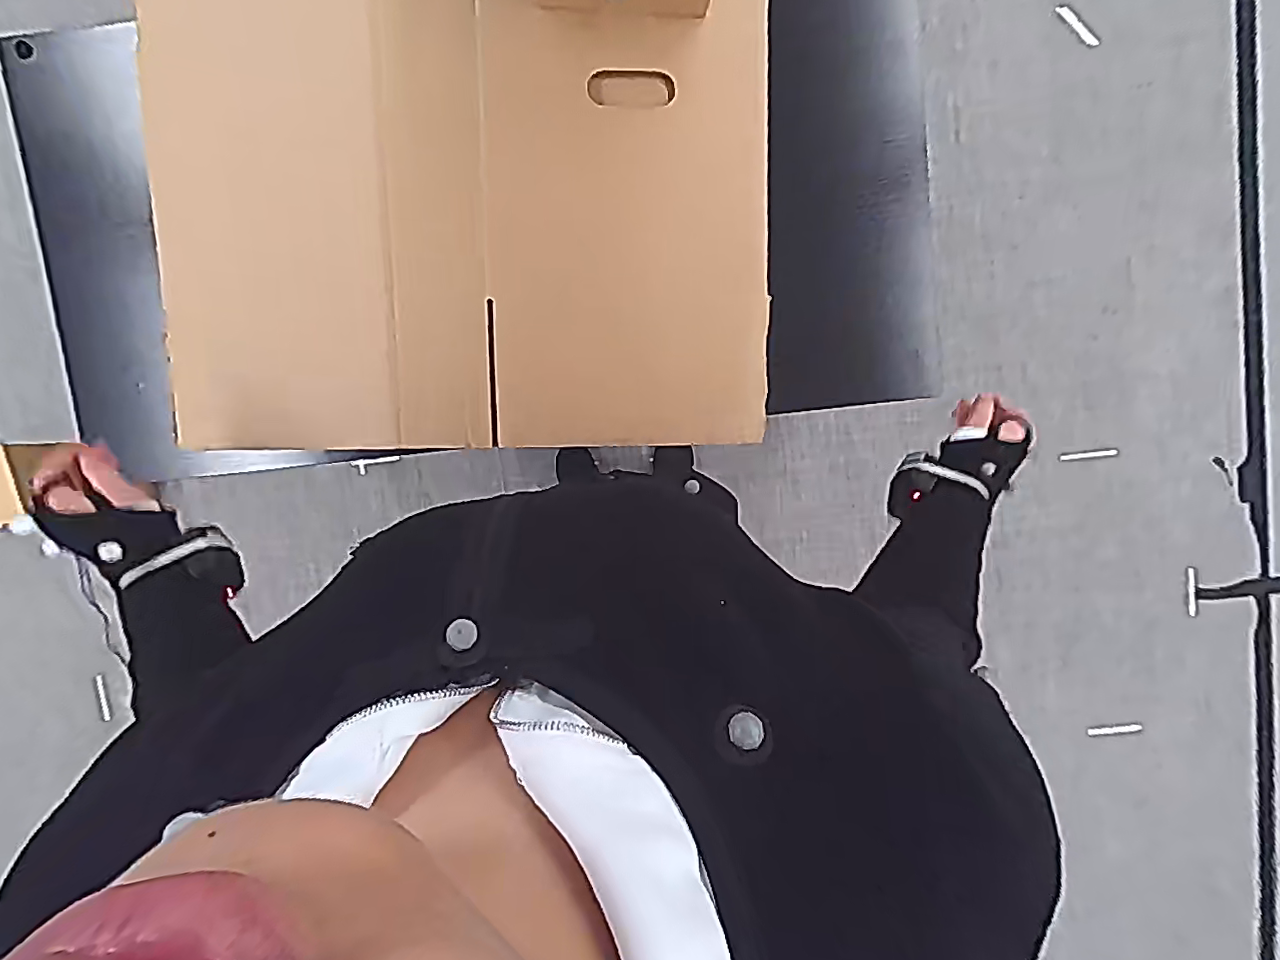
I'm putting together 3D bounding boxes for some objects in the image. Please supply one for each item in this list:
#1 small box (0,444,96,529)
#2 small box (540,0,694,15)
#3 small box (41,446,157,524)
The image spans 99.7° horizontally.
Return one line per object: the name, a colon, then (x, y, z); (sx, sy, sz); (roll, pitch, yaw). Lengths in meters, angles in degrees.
small box: (-1.446, 0.016, 1.267); (0.168, 0.176, 0.179); (-13, 94, 1)
small box: (-0.011, -0.551, 0.466); (0.179, 0.176, 0.168); (0, 93, -4)
small box: (-1.443, 0.007, 1.430); (0.168, 0.176, 0.179); (-10, 96, 2)
